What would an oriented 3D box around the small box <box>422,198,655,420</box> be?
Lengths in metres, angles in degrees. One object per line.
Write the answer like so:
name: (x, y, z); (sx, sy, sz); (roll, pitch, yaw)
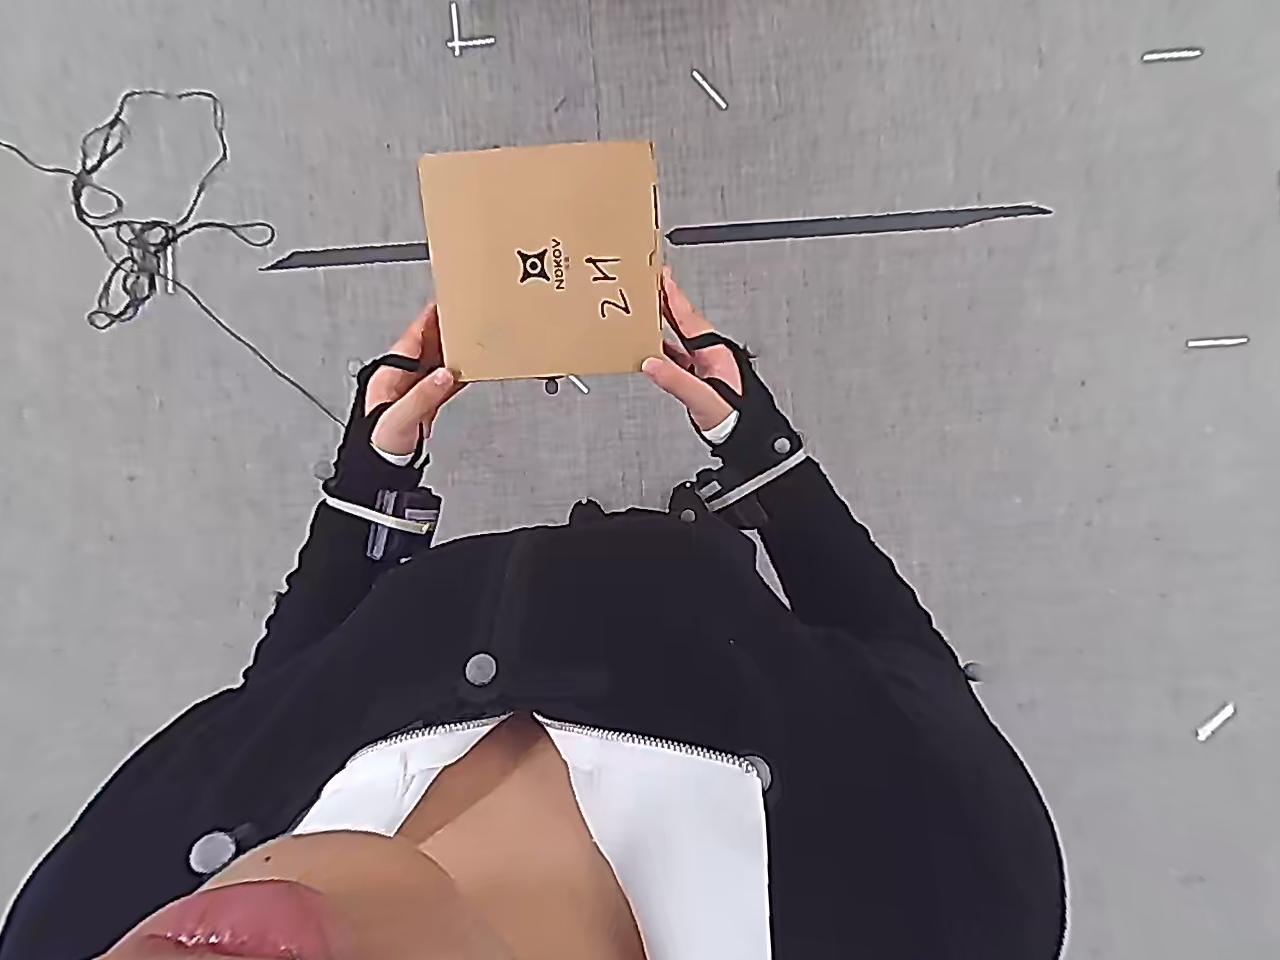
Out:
small box: (-0.076, -0.147, 0.503); (0.179, 0.176, 0.168); (-2, 103, 1)
